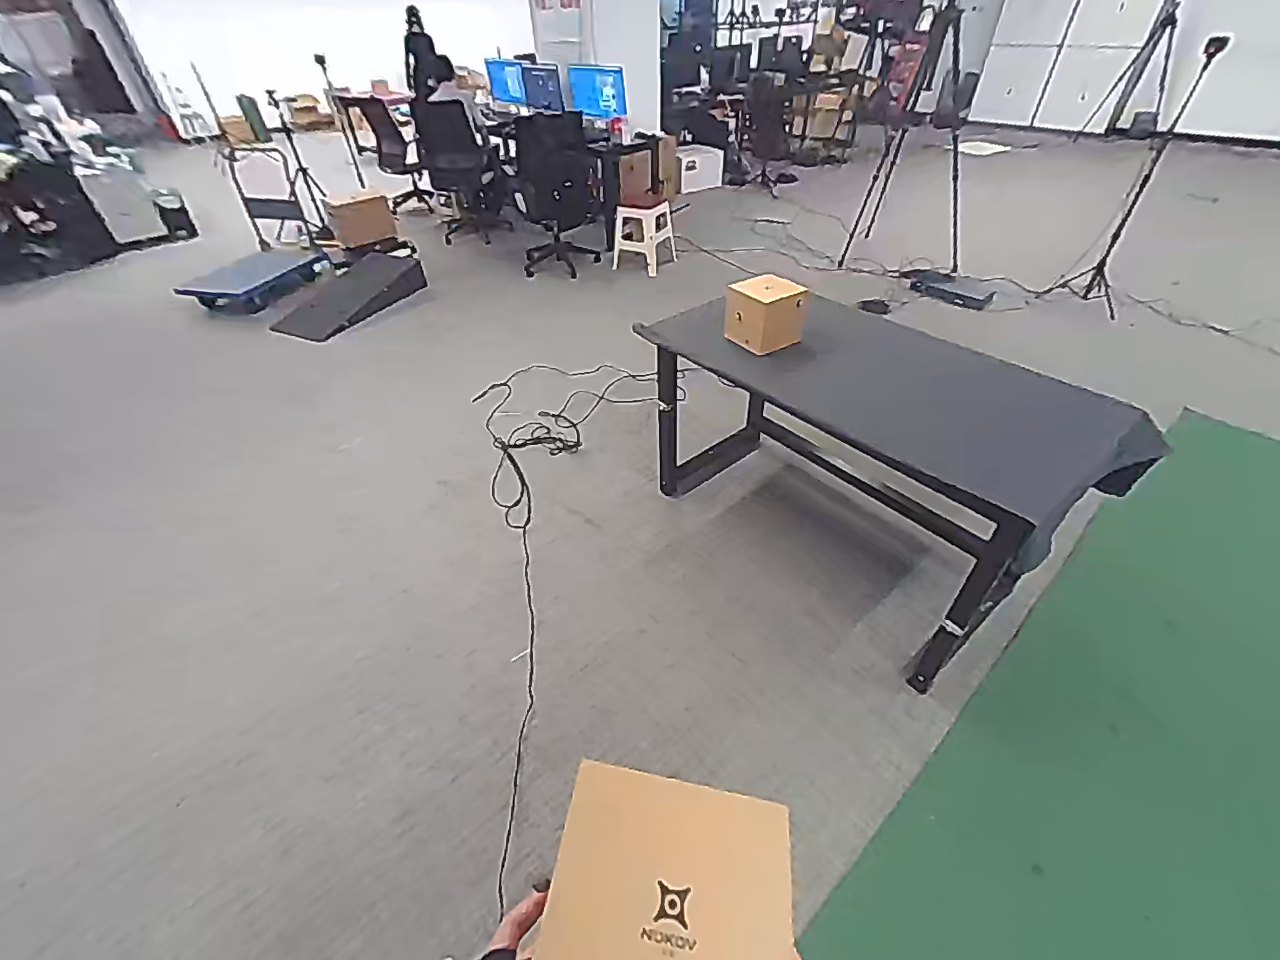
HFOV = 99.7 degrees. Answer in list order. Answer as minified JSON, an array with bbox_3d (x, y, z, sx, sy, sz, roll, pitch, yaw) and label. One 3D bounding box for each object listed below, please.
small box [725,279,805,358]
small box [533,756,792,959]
[{"bbox_3d":[0.373,-0.489,1.643,0.179,0.176,0.168,-24,45,-26],"label":"small box"},{"bbox_3d":[0.011,0.350,0.413,0.168,0.176,0.179,11,42,4],"label":"small box"}]
